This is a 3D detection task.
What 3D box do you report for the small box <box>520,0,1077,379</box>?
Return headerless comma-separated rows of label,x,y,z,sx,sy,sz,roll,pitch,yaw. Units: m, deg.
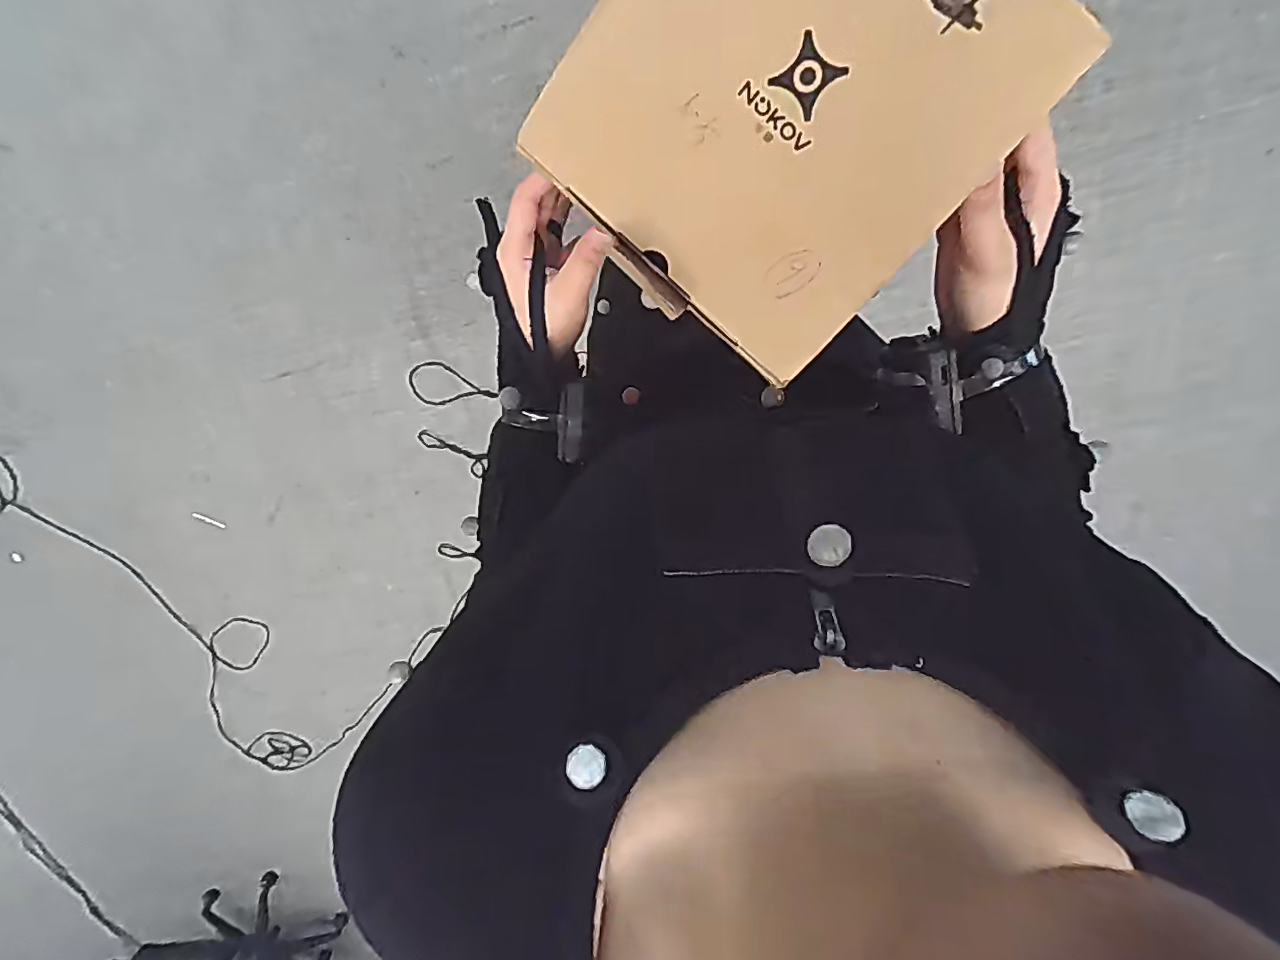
small box,0.069,-0.182,0.306,0.168,0.176,0.179,41,107,-6
